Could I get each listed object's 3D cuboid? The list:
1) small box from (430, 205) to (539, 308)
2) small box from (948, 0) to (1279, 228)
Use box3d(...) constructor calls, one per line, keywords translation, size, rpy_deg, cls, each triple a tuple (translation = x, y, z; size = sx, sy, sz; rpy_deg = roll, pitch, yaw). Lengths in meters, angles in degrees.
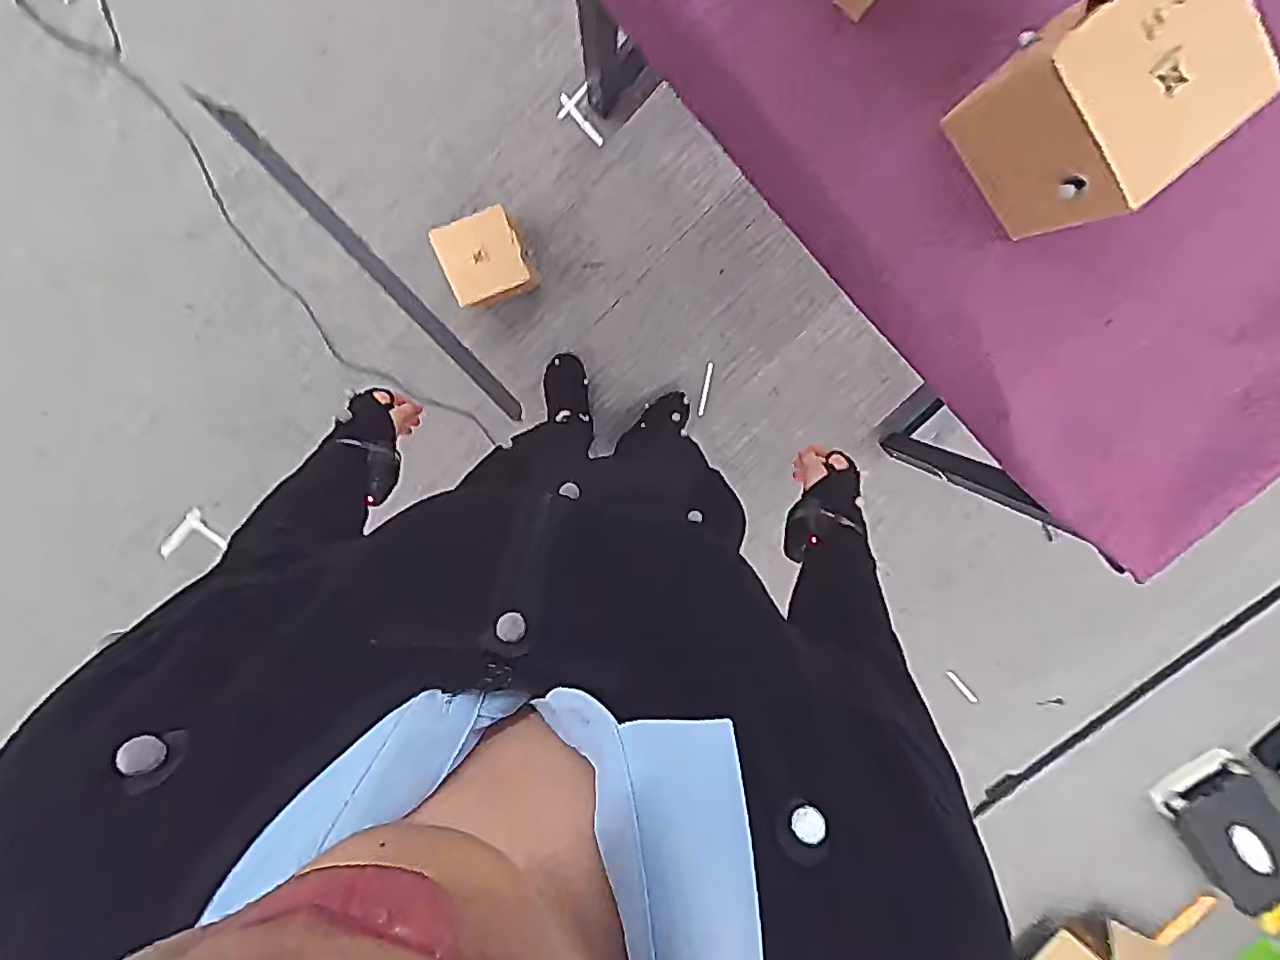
box3d(translation=(-0.353, -0.511, 1.263), size=(0.179, 0.176, 0.168), rpy_deg=(-21, 106, 2), cls="small box")
box3d(translation=(0.480, -0.396, 0.575), size=(0.168, 0.176, 0.179), rpy_deg=(-41, 103, 7), cls="small box")
